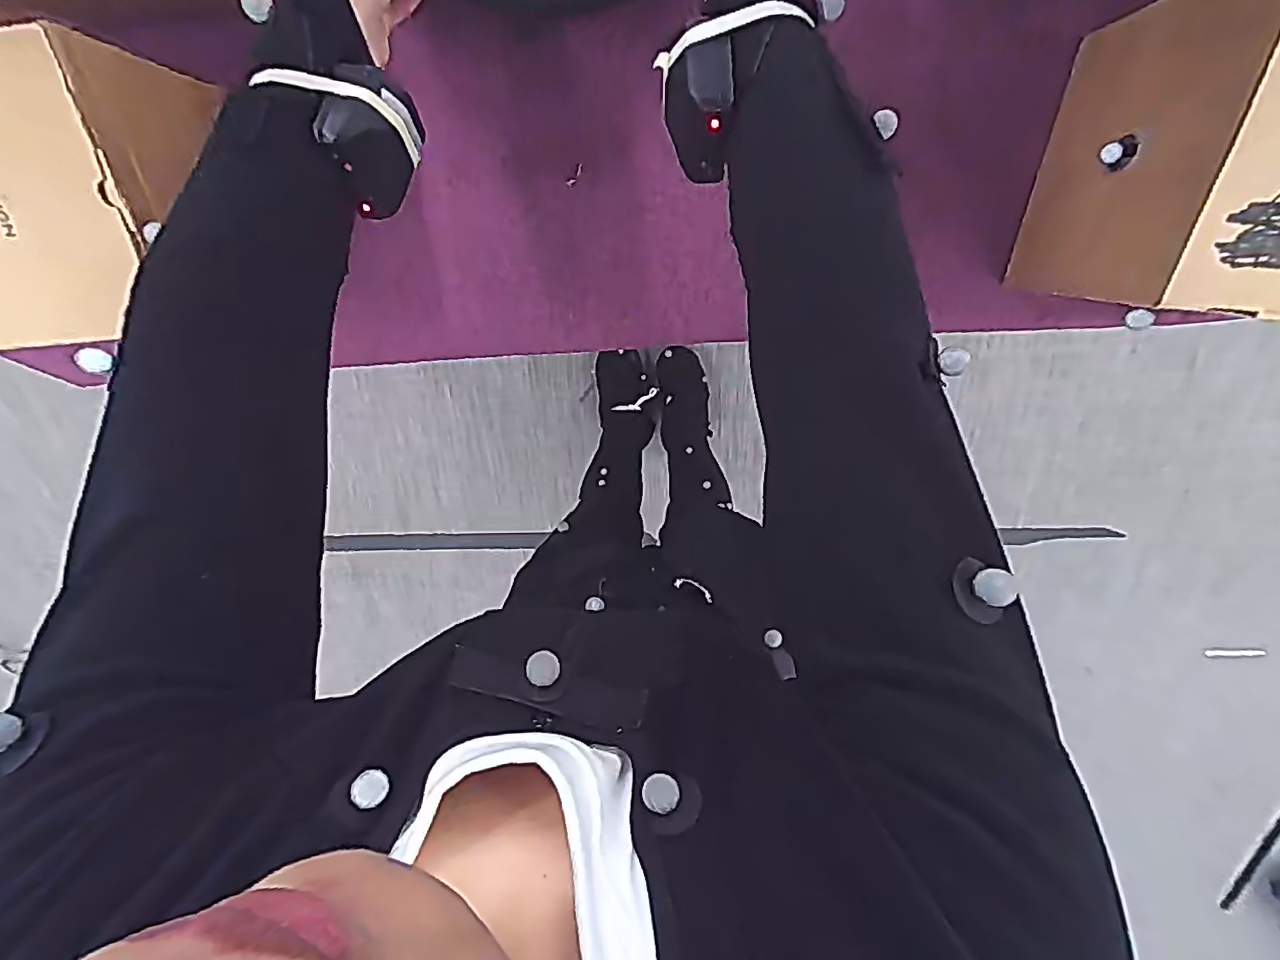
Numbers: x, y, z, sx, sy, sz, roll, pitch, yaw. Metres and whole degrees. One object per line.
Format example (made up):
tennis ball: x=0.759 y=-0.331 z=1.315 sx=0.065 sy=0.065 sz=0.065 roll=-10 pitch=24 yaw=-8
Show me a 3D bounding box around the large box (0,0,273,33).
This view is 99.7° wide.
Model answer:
large box: x=-0.445 y=-0.472 z=0.209 sx=0.320 sy=0.320 sz=0.408 roll=-3 pitch=117 yaw=2
